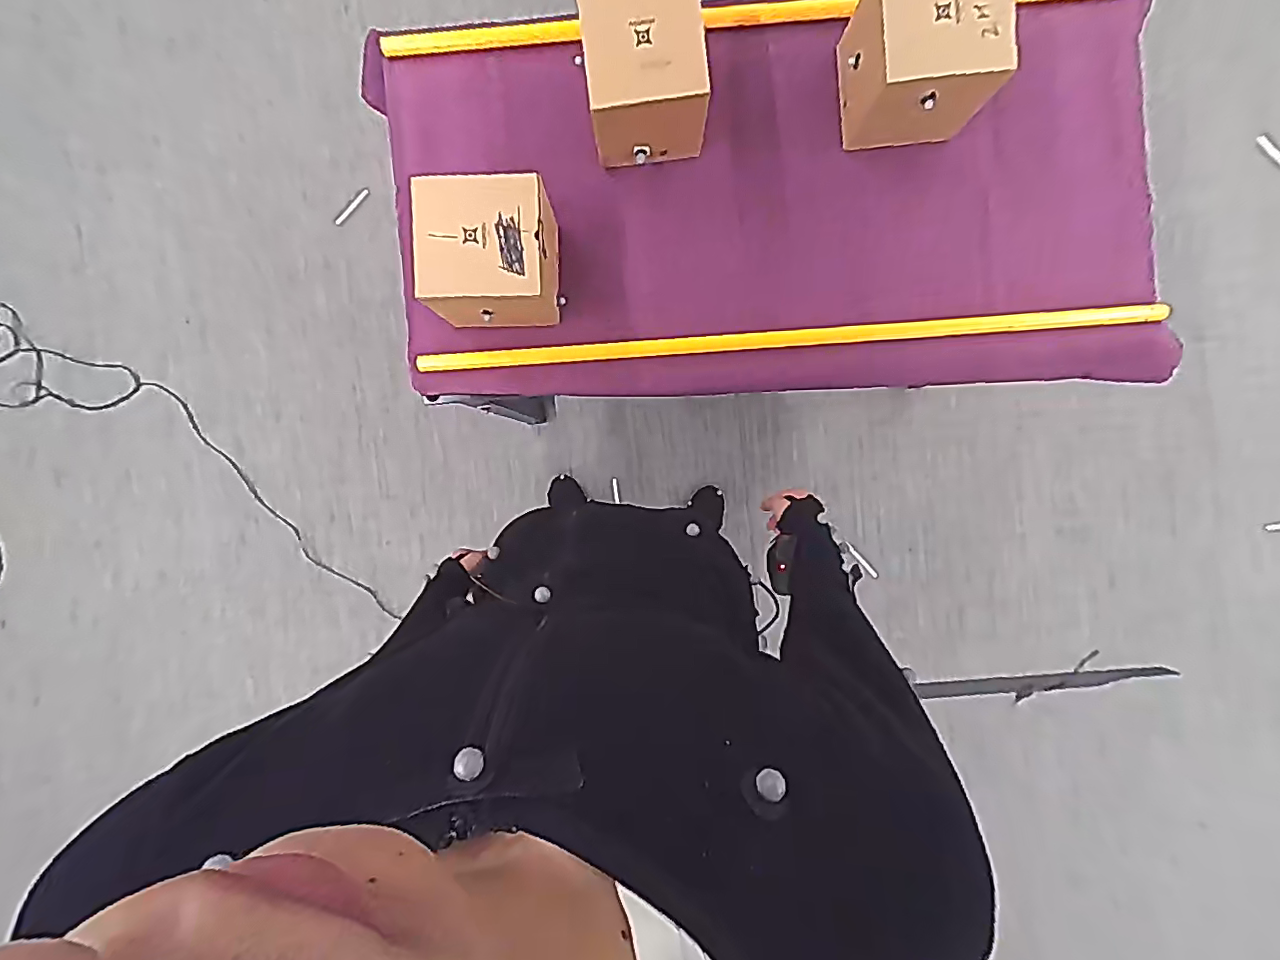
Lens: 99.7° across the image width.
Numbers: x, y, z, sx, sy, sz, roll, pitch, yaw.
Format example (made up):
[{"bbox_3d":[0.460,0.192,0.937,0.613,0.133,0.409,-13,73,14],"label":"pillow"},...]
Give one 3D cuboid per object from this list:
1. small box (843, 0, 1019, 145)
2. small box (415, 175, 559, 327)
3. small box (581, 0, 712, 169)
[{"bbox_3d":[0.409,-0.620,0.790,0.179,0.176,0.168,-5,93,1],"label":"small box"},{"bbox_3d":[-0.217,-0.332,0.811,0.179,0.176,0.168,-1,92,1],"label":"small box"},{"bbox_3d":[0.008,-0.599,0.800,0.168,0.176,0.179,-7,93,2],"label":"small box"}]
